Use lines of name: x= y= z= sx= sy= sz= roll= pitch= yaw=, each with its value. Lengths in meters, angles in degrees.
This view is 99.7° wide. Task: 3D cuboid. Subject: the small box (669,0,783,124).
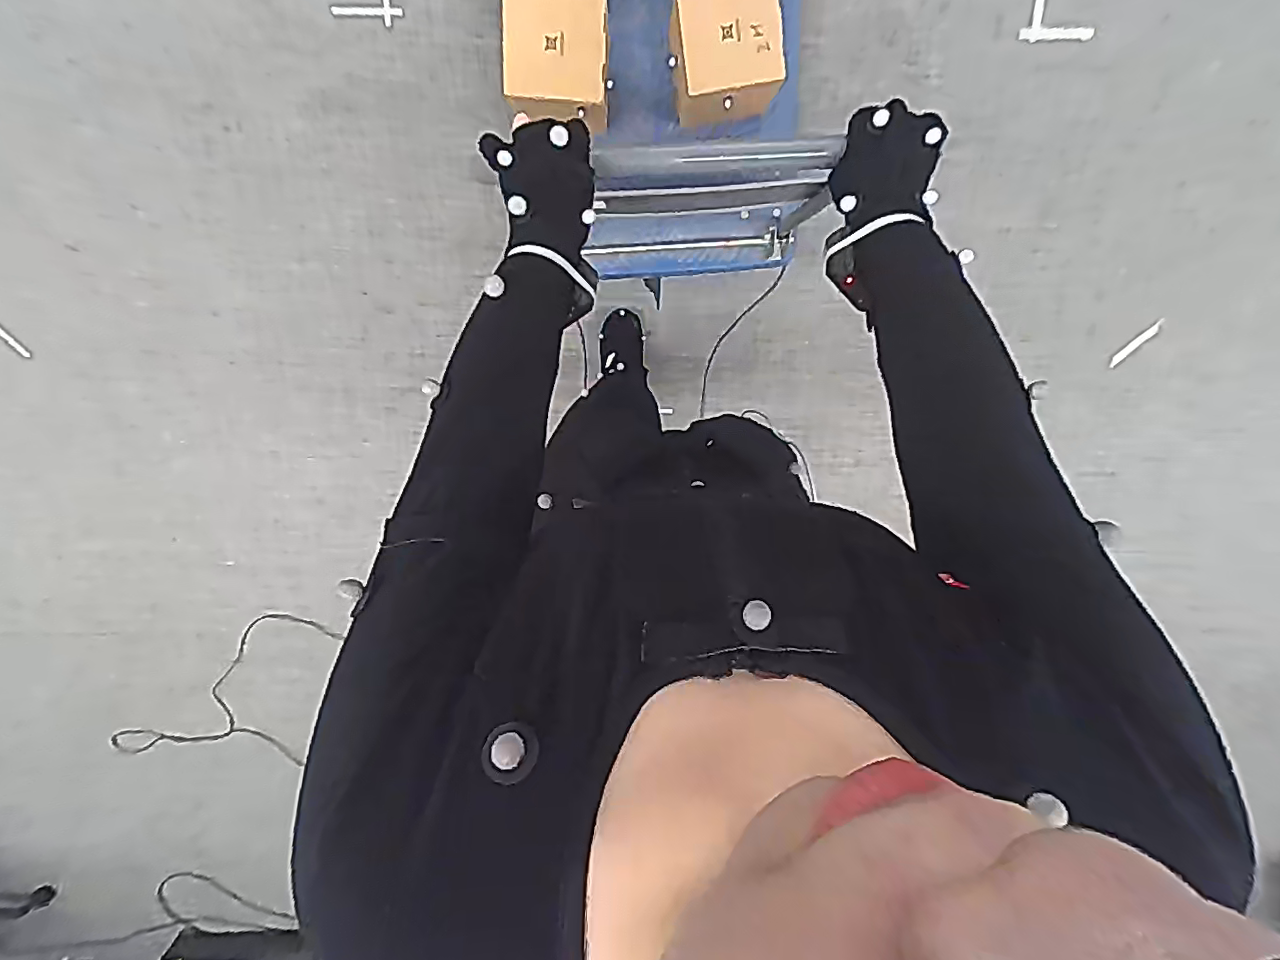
small box: x=0.150 y=-0.786 z=0.997 sx=0.179 sy=0.176 sz=0.168 roll=-10 pitch=106 yaw=1

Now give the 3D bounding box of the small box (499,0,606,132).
small box: x=-0.155 y=-0.764 z=0.996 sx=0.179 sy=0.176 sz=0.168 roll=2 pitch=106 yaw=-4
